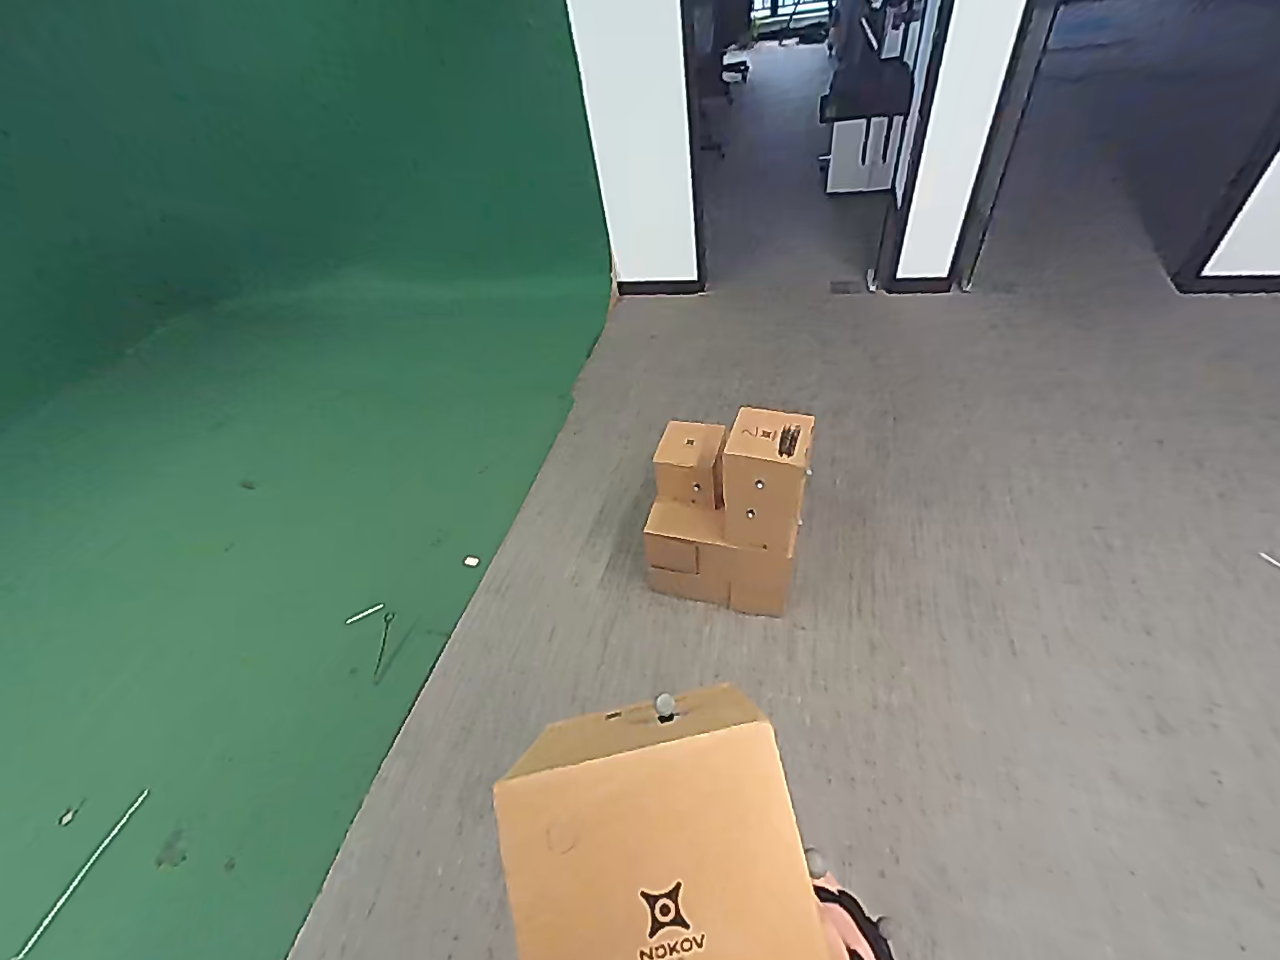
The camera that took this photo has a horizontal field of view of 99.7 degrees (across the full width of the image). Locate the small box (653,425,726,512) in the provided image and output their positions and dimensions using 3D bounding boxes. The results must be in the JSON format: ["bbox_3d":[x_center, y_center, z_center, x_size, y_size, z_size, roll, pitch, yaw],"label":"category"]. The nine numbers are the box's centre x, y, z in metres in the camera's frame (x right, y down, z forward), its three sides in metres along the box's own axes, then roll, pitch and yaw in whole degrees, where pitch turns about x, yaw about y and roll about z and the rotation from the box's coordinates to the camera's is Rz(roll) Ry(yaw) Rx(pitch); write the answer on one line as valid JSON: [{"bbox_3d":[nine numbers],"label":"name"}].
[{"bbox_3d":[0.147,-0.031,1.530,0.168,0.176,0.179,8,46,18],"label":"small box"}]

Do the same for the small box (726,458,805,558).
[{"bbox_3d":[0.319,0.071,1.390,0.168,0.176,0.179,10,47,19],"label":"small box"}]
